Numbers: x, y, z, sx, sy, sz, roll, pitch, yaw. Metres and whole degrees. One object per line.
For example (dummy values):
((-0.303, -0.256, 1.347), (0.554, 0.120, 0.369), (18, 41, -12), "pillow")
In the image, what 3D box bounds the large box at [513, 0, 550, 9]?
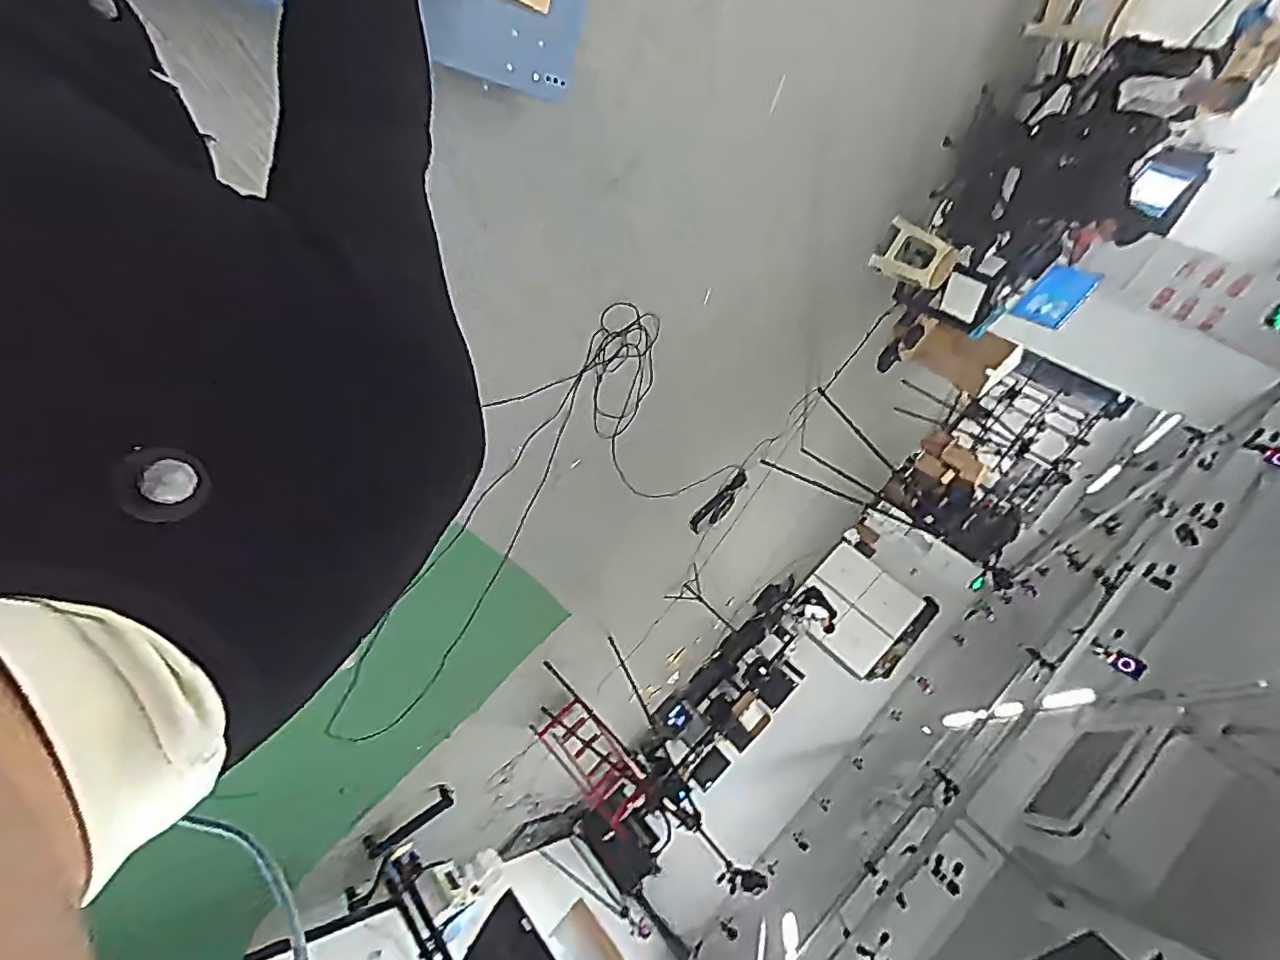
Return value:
((-0.359, -1.059, 0.877), (0.408, 0.320, 0.320), (-17, 139, -48), "large box")
